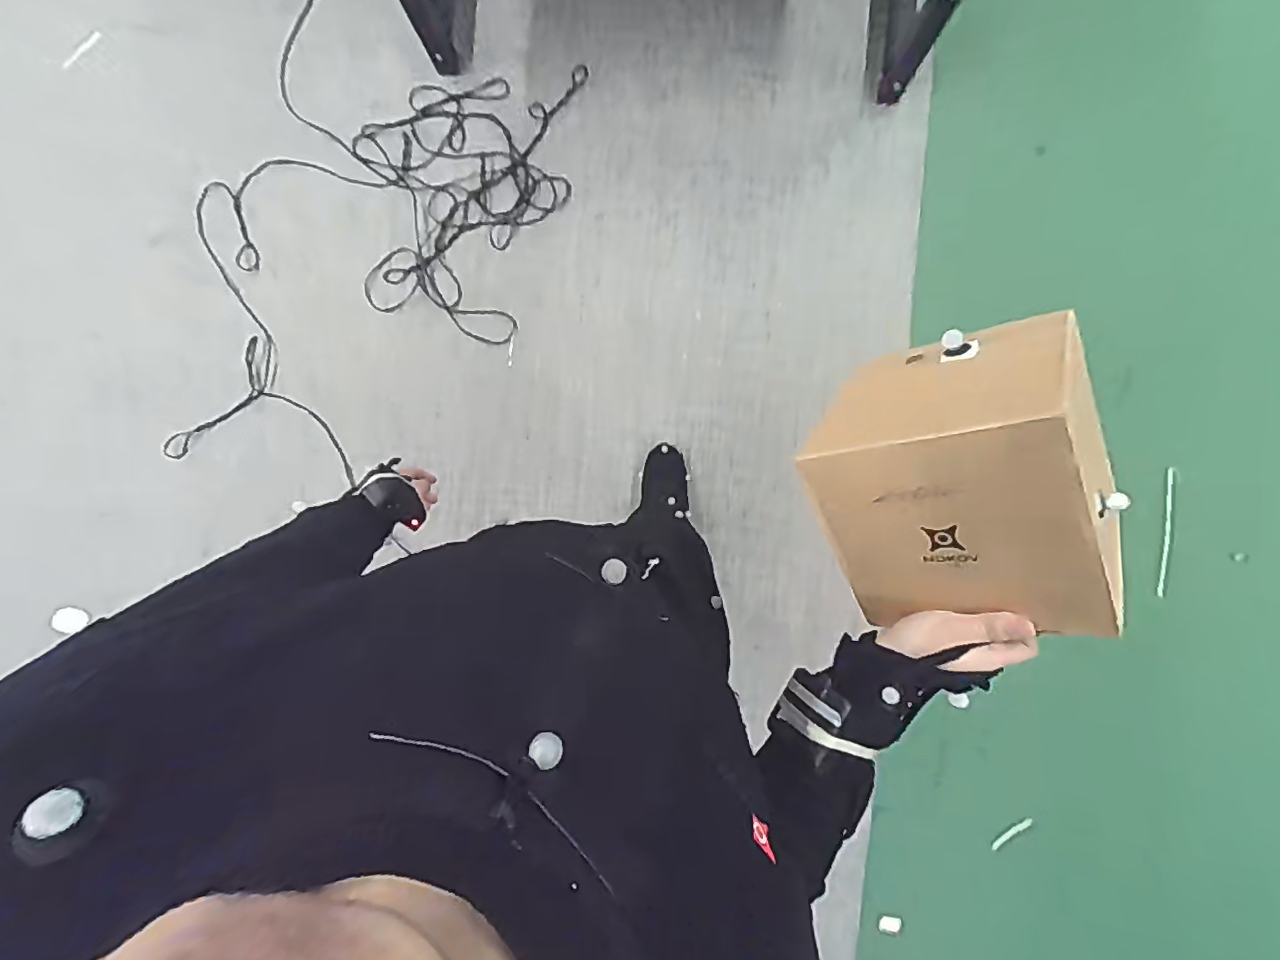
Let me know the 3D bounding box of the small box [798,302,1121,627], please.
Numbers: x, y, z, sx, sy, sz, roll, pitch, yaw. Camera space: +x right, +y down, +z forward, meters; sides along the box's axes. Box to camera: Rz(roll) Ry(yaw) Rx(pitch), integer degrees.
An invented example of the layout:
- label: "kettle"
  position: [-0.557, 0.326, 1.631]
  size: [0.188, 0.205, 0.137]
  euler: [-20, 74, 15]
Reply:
- label: "small box"
  position: [0.257, -0.009, 0.428]
  size: [0.168, 0.176, 0.179]
  euler: [-12, 116, 43]
